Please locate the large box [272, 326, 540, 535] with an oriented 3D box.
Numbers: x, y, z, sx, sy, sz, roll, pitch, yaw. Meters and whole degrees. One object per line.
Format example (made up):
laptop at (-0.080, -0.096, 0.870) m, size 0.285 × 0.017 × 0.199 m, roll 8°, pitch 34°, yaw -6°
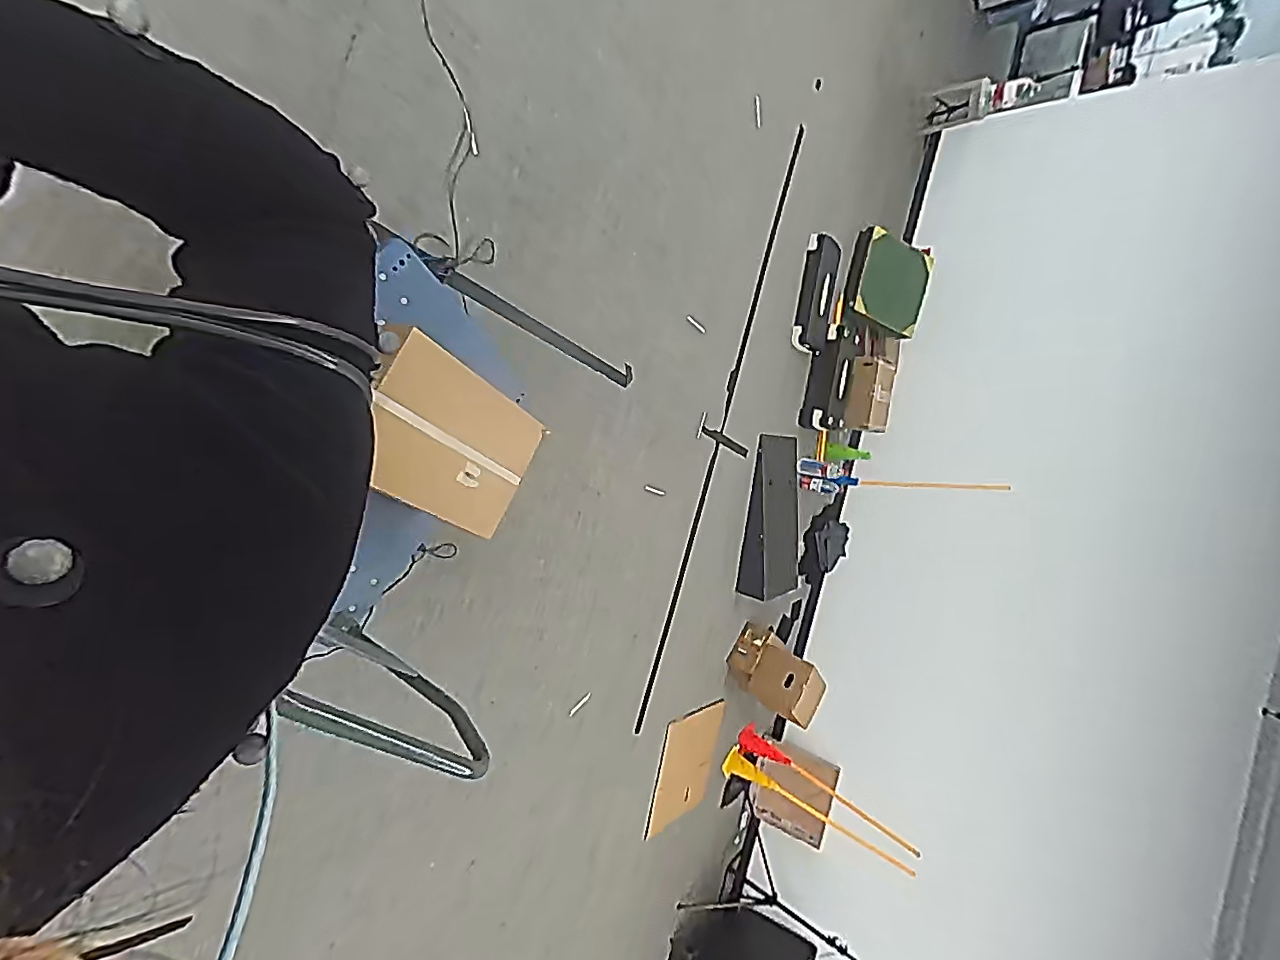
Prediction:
large box at (-0.520, -0.111, 1.244) m, size 0.408 × 0.320 × 0.320 m, roll 40°, pitch 71°, yaw -49°
